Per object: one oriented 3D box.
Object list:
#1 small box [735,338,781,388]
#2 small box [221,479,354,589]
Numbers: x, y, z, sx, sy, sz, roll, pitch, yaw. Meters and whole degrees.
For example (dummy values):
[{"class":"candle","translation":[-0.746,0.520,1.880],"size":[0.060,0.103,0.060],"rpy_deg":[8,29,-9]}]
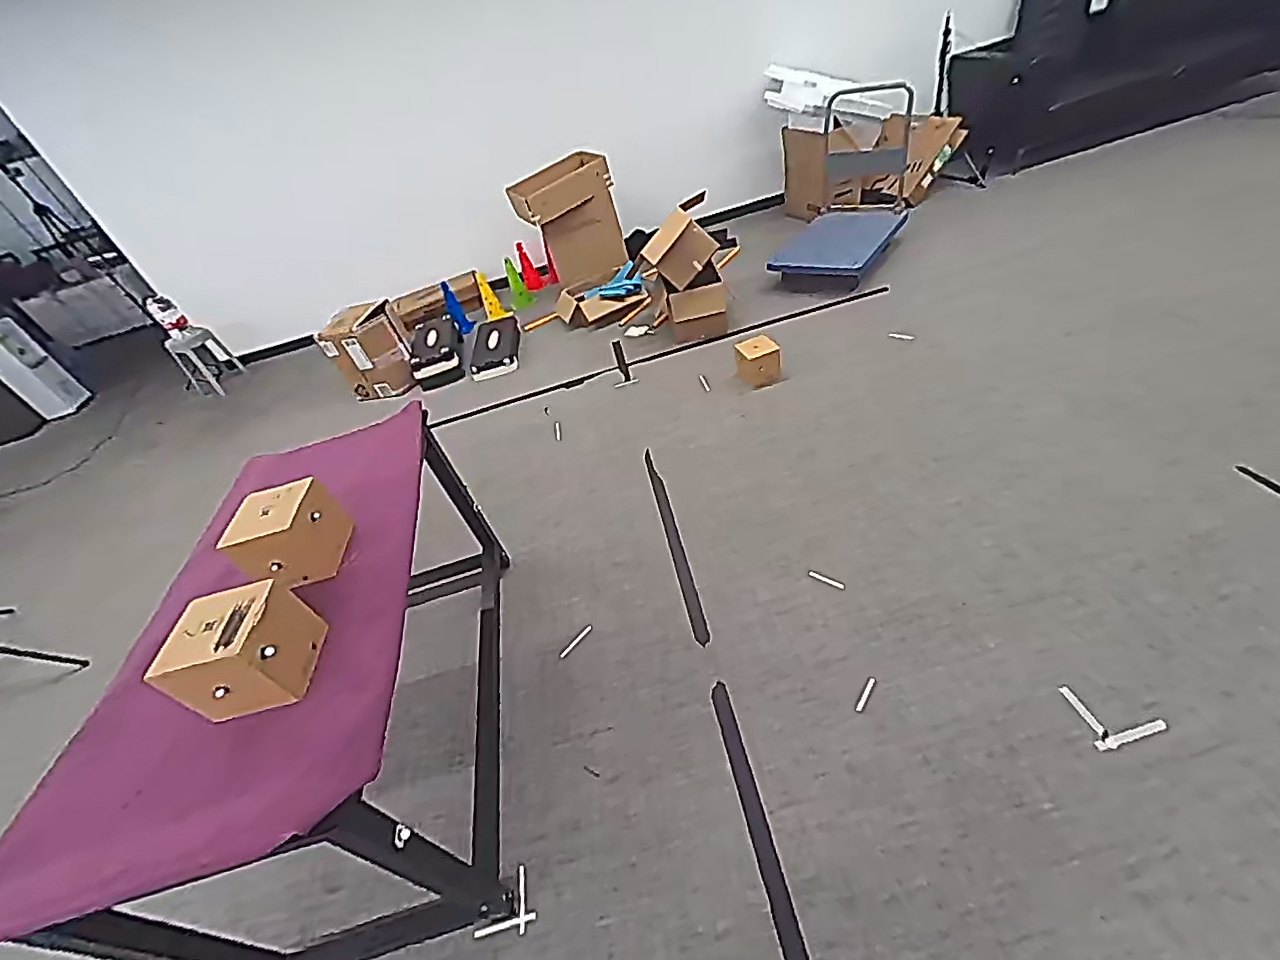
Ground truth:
[{"class":"small box","translation":[0.595,-0.583,2.714],"size":[0.168,0.176,0.179],"rpy_deg":[-21,40,-5]},{"class":"small box","translation":[-0.794,0.130,1.243],"size":[0.168,0.176,0.179],"rpy_deg":[-15,40,2]}]
